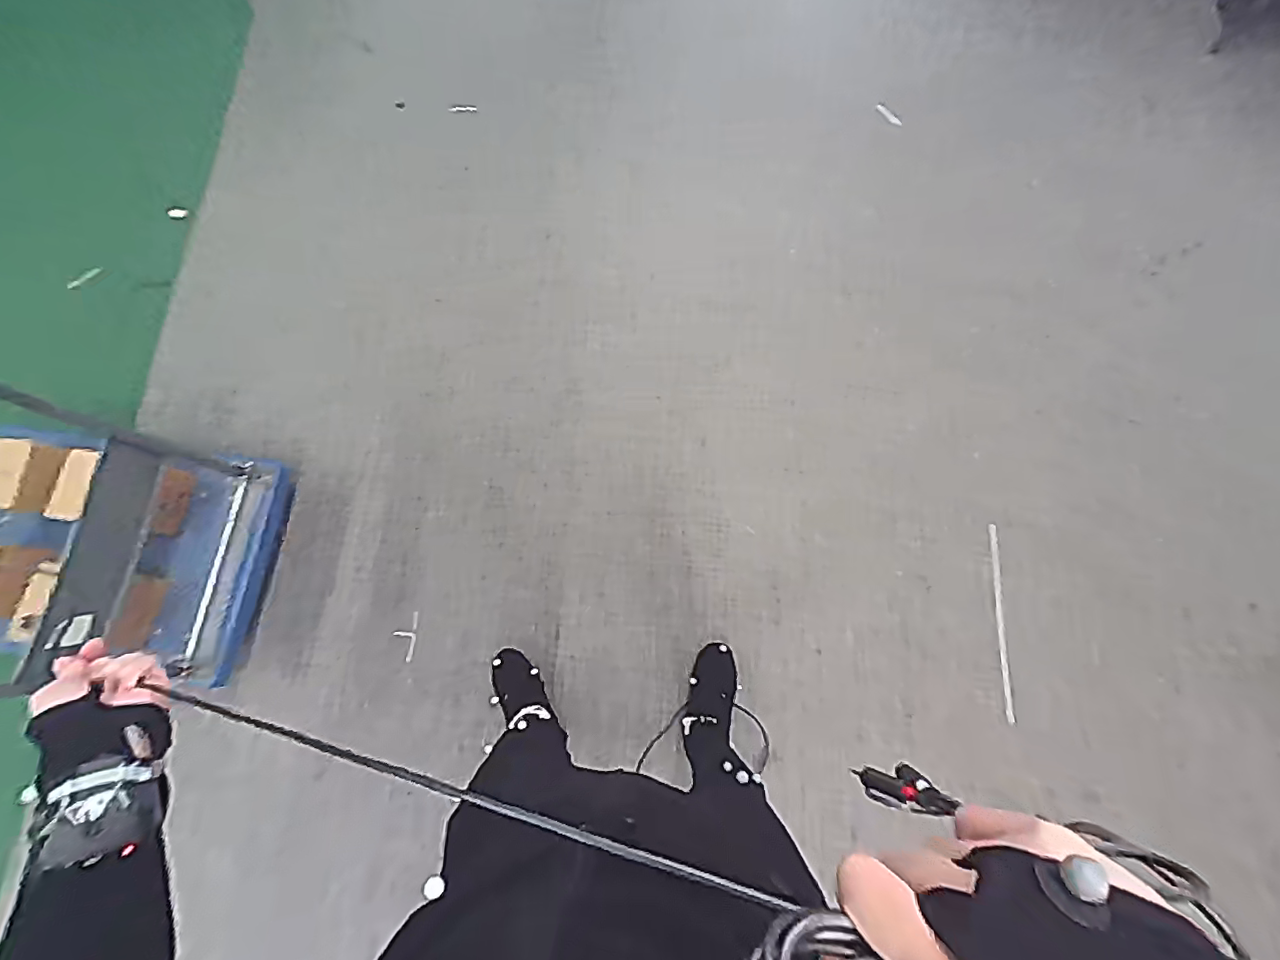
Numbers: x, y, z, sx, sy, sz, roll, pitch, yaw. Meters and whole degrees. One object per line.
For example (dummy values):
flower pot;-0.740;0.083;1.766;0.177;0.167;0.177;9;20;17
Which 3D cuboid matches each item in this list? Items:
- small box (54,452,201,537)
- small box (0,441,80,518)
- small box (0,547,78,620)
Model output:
small box;-1.264;0.042;1.346;0.179;0.176;0.168;9;78;6
small box;-1.530;0.005;1.373;0.179;0.176;0.168;5;78;4
small box;-1.552;0.250;1.317;0.179;0.176;0.168;4;76;5
